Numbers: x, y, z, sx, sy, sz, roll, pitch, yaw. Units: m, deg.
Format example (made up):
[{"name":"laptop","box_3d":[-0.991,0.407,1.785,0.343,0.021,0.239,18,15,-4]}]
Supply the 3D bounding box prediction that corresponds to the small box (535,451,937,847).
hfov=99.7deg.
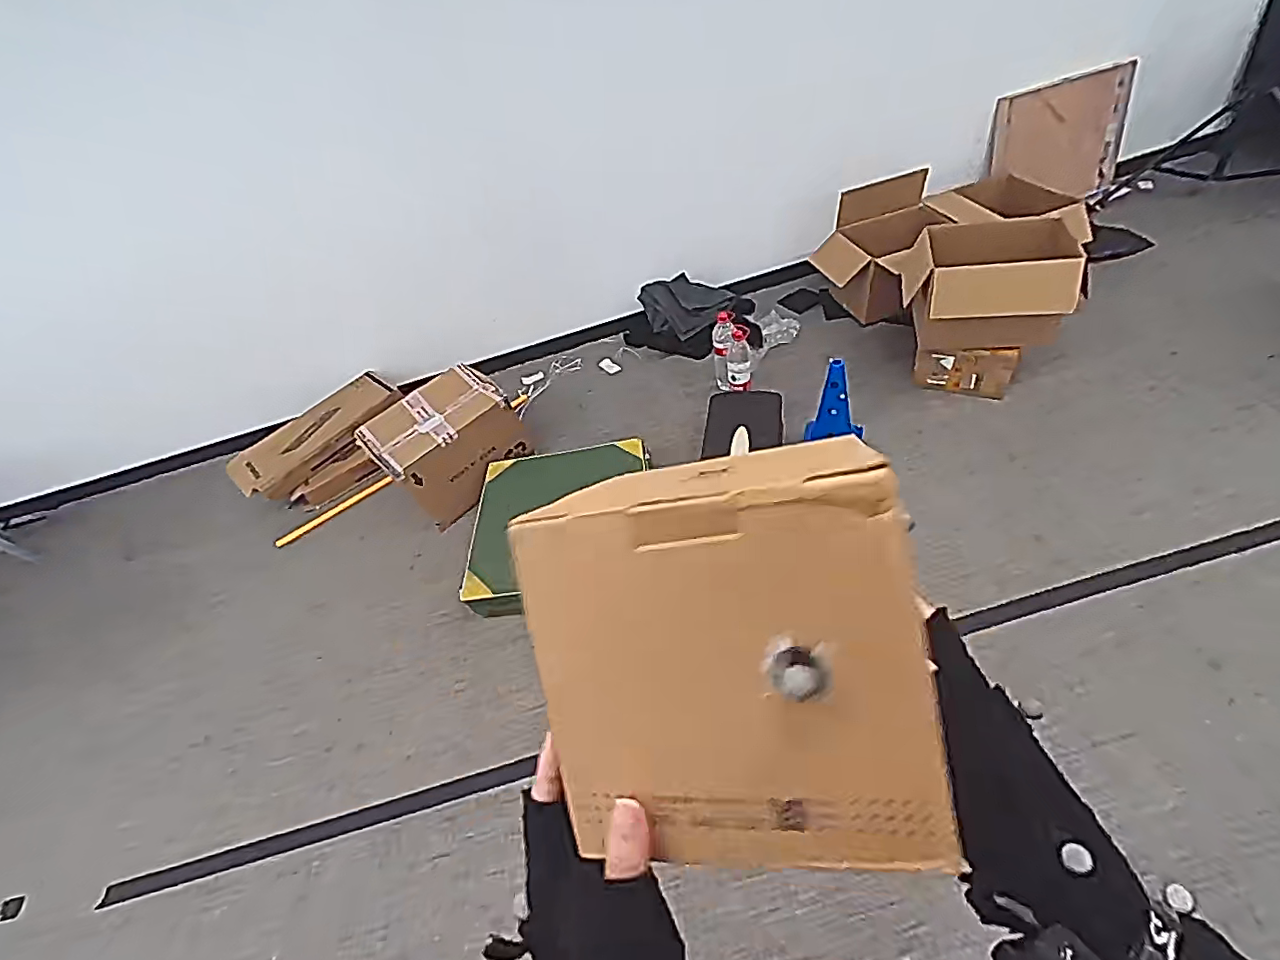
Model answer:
[{"name":"small box","box_3d":[0.062,0.084,0.327,0.168,0.176,0.179,-9,3,17]}]
